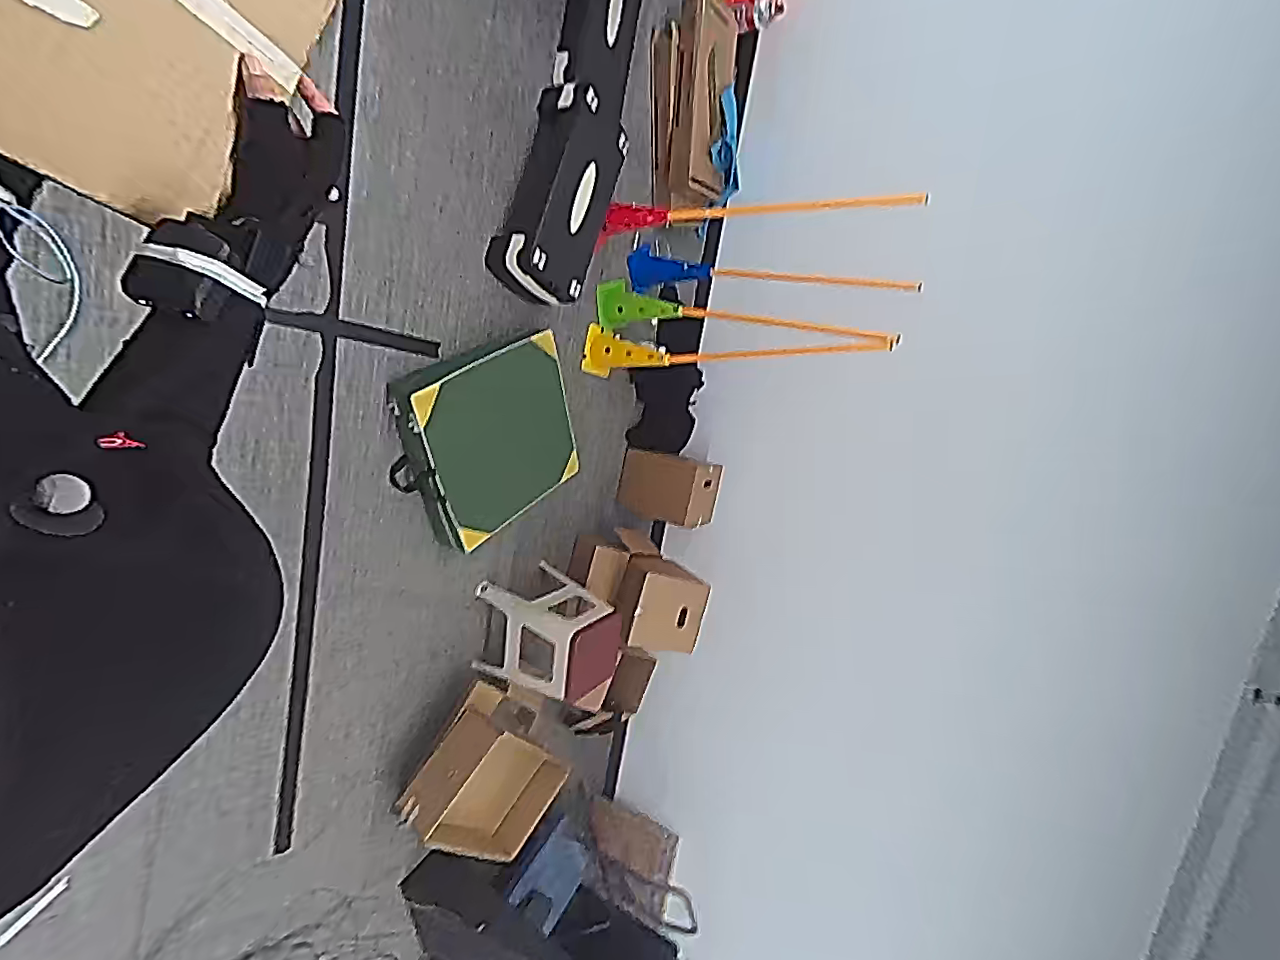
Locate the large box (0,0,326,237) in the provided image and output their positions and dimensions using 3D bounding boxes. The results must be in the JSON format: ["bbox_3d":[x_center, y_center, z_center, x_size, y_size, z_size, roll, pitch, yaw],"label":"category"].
[{"bbox_3d":[-0.493,-0.433,0.342,0.320,0.320,0.408,-62,152,2],"label":"large box"}]
